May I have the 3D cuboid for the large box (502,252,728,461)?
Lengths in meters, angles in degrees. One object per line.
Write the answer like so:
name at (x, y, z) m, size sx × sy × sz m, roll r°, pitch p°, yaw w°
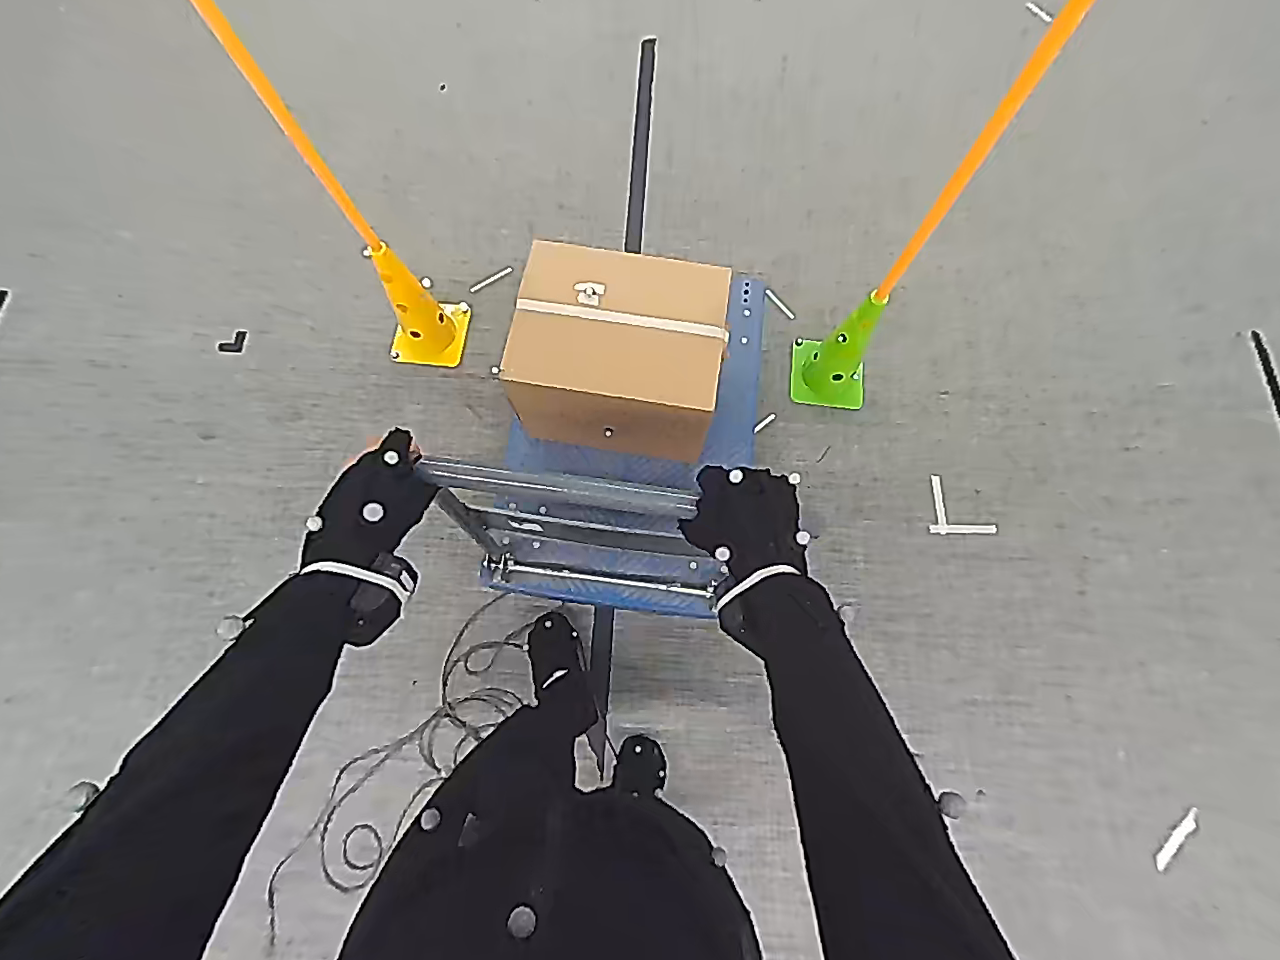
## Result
large box at (-0.038, -0.251, 1.190) m, size 0.408 × 0.320 × 0.320 m, roll 9°, pitch 74°, yaw 3°

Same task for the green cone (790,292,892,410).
green cone at (0.531, -0.346, 1.368) m, size 0.202 × 0.368 × 0.200 m, roll 7°, pitch 74°, yaw 1°
